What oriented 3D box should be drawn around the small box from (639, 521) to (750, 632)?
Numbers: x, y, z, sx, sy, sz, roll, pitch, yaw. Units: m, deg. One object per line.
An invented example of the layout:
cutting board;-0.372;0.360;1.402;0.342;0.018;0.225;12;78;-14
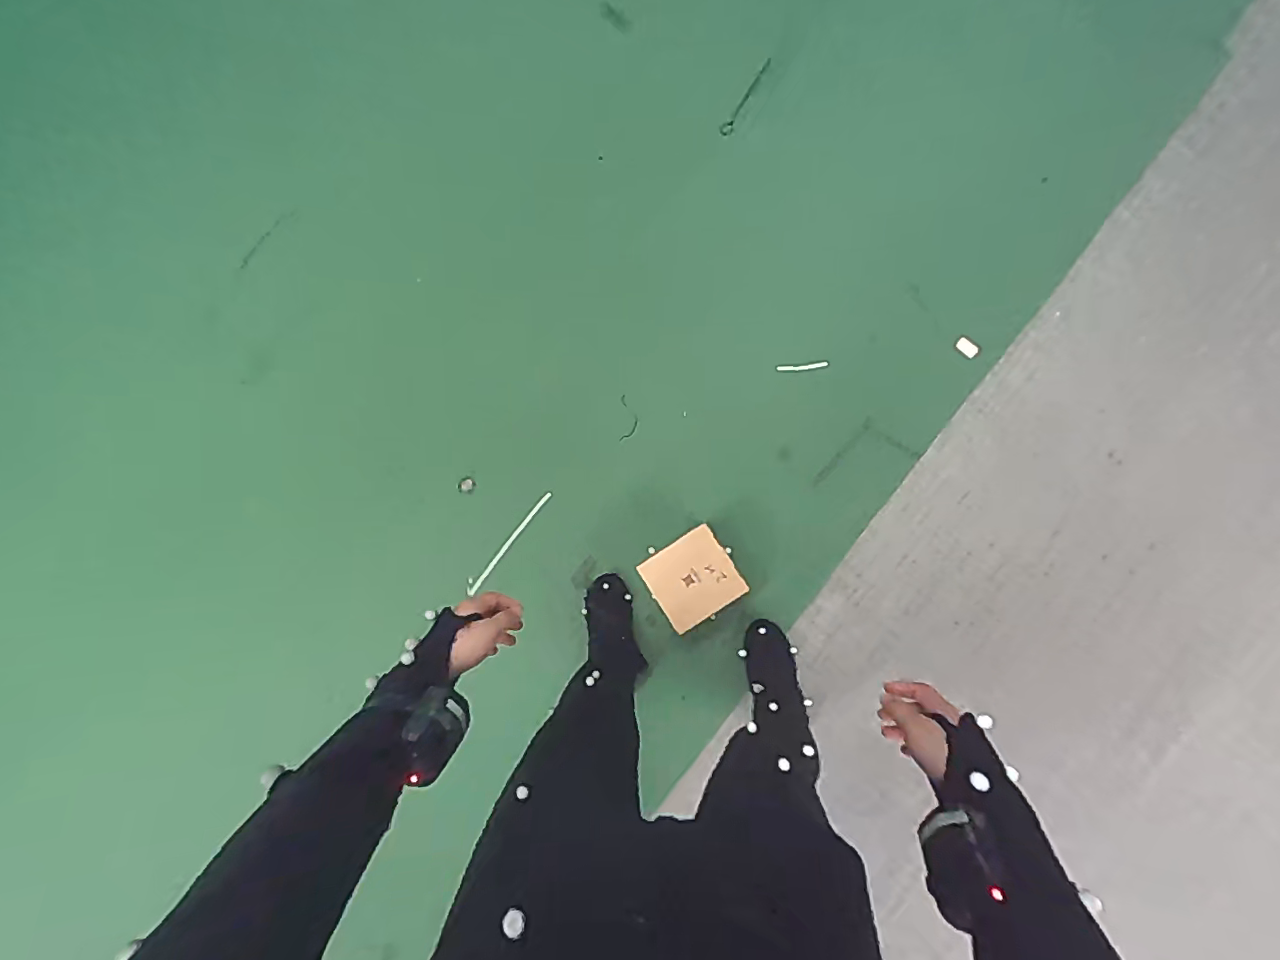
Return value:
small box;0.118;0.205;1.183;0.179;0.176;0.168;-33;84;1
